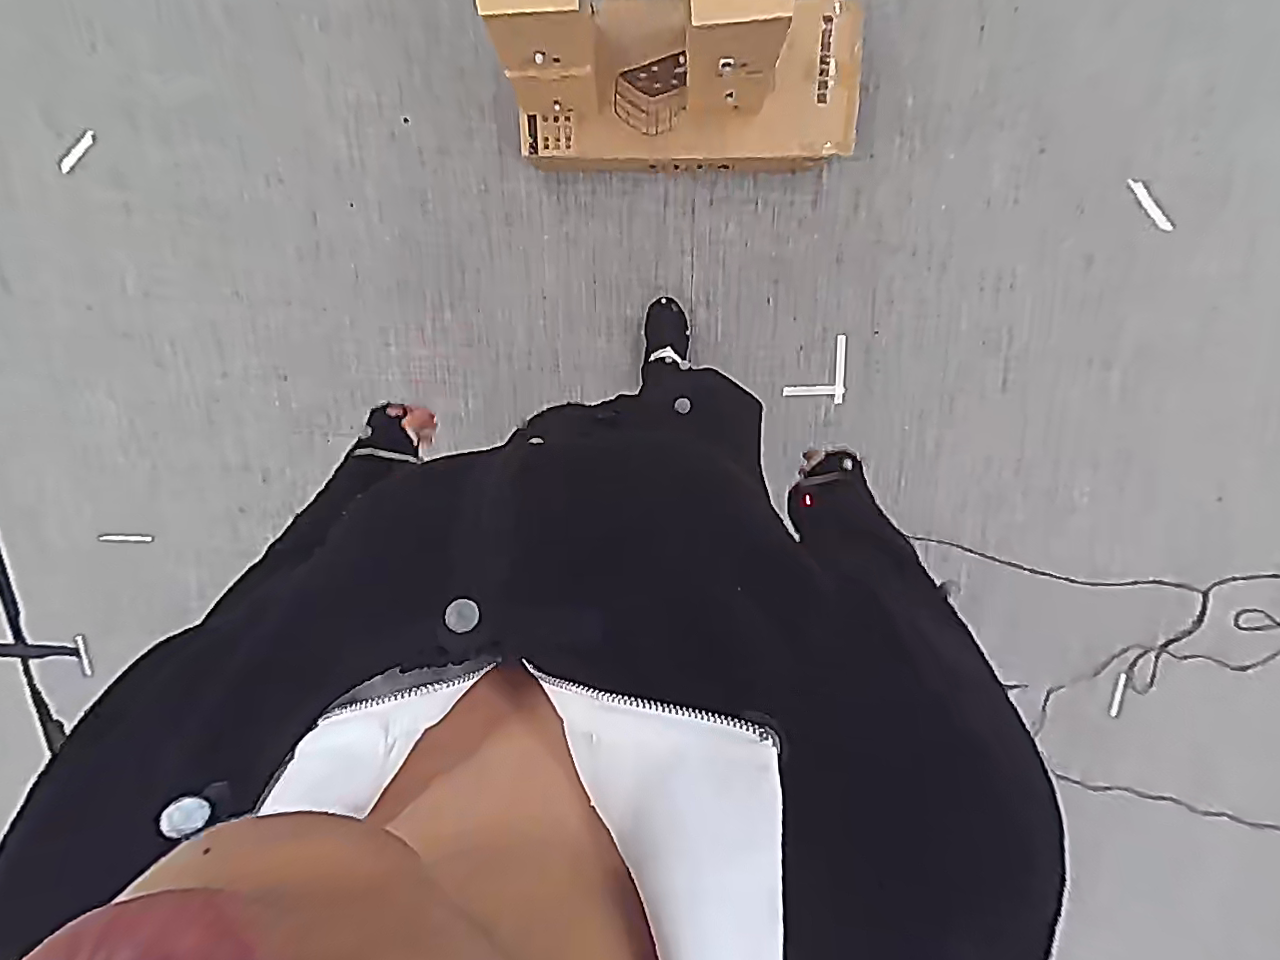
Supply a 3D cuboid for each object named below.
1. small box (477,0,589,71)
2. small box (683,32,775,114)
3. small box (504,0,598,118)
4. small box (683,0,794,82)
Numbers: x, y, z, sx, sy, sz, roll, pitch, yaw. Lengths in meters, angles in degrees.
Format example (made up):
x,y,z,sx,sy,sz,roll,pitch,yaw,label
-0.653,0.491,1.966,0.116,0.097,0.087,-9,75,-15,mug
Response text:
x,y,z,sx,sy,sz,roll,pitch,yaw,label
-0.179,-0.840,0.923,0.168,0.176,0.179,-1,103,1,small box
0.174,-0.859,1.081,0.168,0.176,0.179,-2,104,1,small box
-0.174,-0.862,1.086,0.168,0.176,0.179,0,103,1,small box
0.160,-0.823,0.923,0.168,0.176,0.179,-4,103,3,small box
